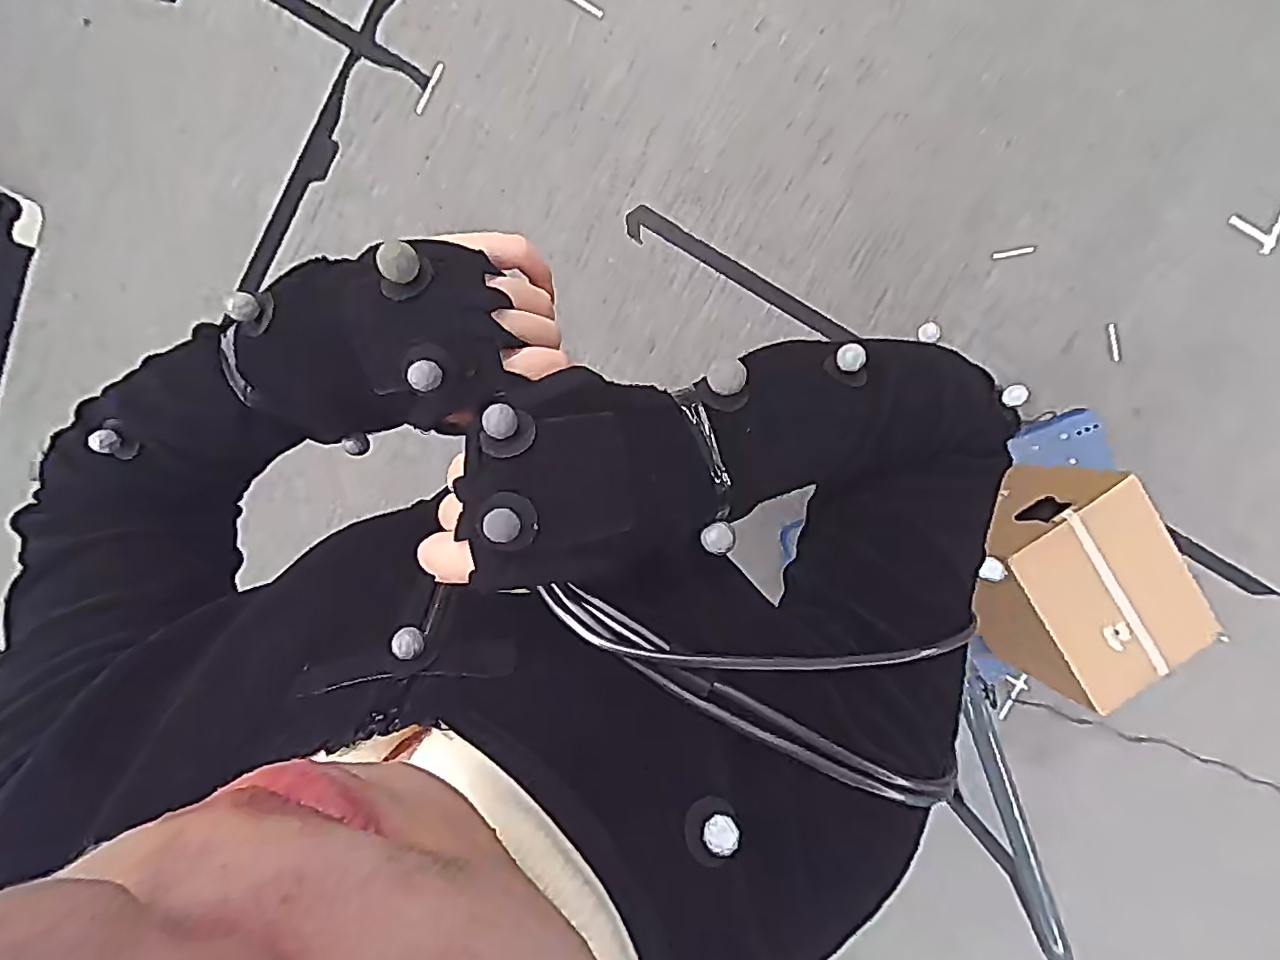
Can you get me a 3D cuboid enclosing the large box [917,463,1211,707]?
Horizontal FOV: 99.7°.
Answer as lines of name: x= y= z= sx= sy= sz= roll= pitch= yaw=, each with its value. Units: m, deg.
large box: x=0.937 y=0.212 z=1.242 sx=0.320 sy=0.320 sz=0.408 roll=-34 pitch=97 yaw=0
